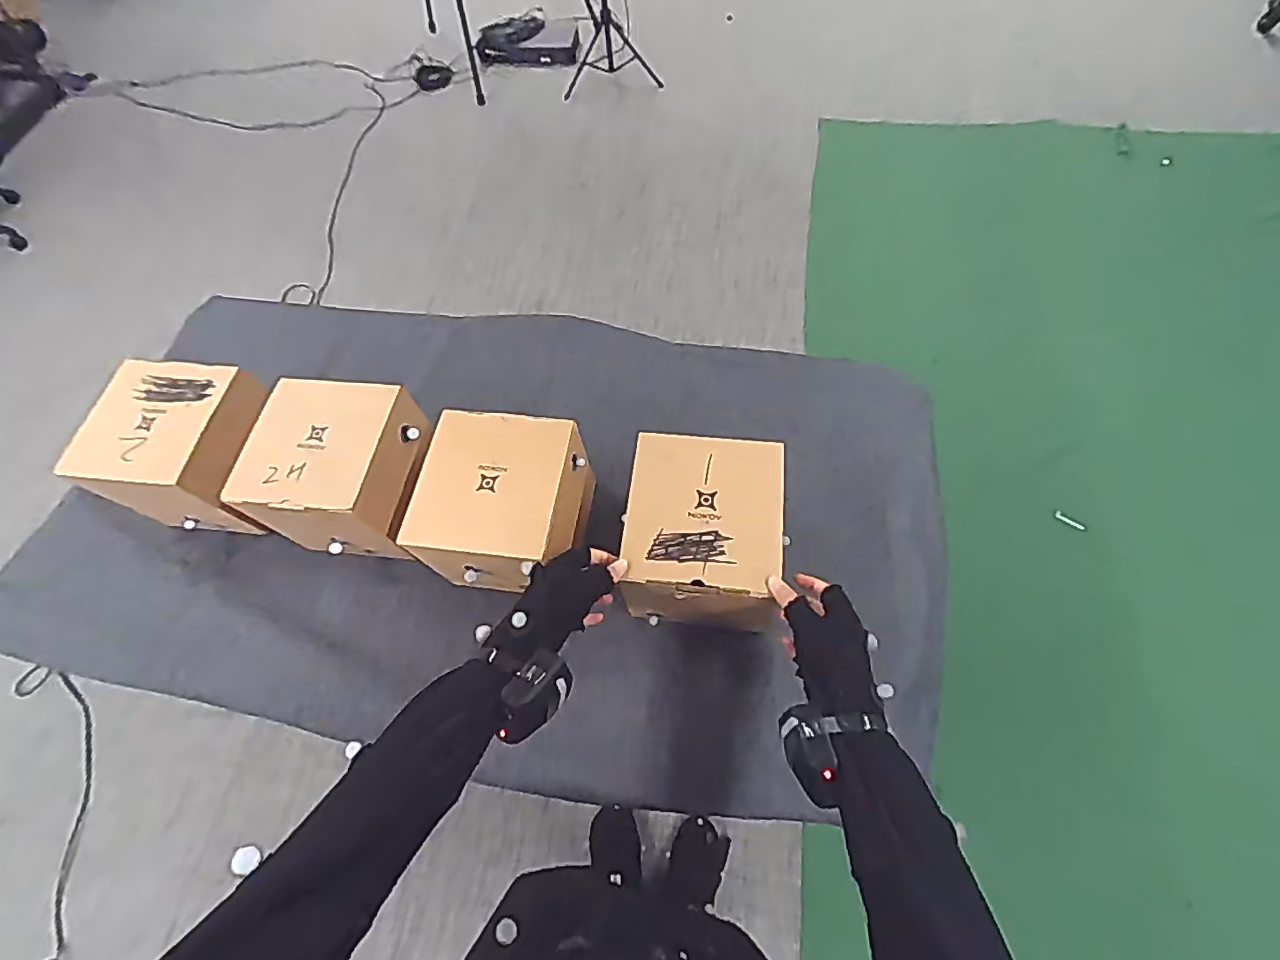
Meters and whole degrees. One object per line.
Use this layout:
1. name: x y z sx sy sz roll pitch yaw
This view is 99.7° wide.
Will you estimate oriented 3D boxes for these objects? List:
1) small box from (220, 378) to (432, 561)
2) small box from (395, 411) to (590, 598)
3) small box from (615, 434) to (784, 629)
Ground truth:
1. small box: -0.380 -0.010 0.709 0.168 0.176 0.179 5 64 7
2. small box: -0.164 0.037 0.671 0.168 0.176 0.179 5 63 7
3. small box: 0.072 0.067 0.636 0.168 0.176 0.179 5 63 7
